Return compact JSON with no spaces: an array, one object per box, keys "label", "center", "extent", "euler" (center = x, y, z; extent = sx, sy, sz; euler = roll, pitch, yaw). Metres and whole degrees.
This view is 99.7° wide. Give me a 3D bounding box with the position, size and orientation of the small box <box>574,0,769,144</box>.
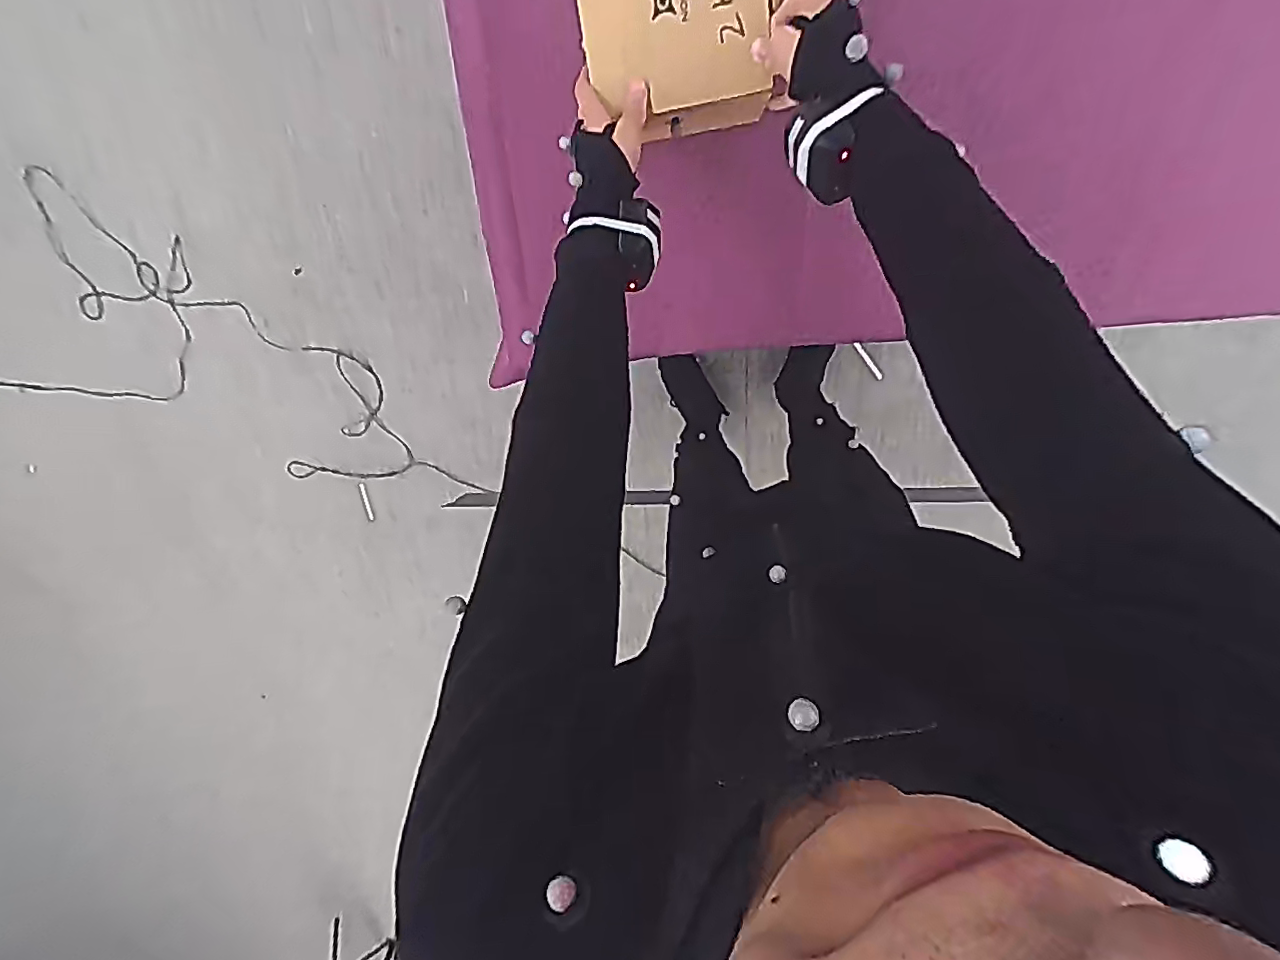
[{"label":"small box","center":[0.035,-0.464,0.561],"extent":[0.179,0.176,0.168],"euler":[-5,115,8]}]
